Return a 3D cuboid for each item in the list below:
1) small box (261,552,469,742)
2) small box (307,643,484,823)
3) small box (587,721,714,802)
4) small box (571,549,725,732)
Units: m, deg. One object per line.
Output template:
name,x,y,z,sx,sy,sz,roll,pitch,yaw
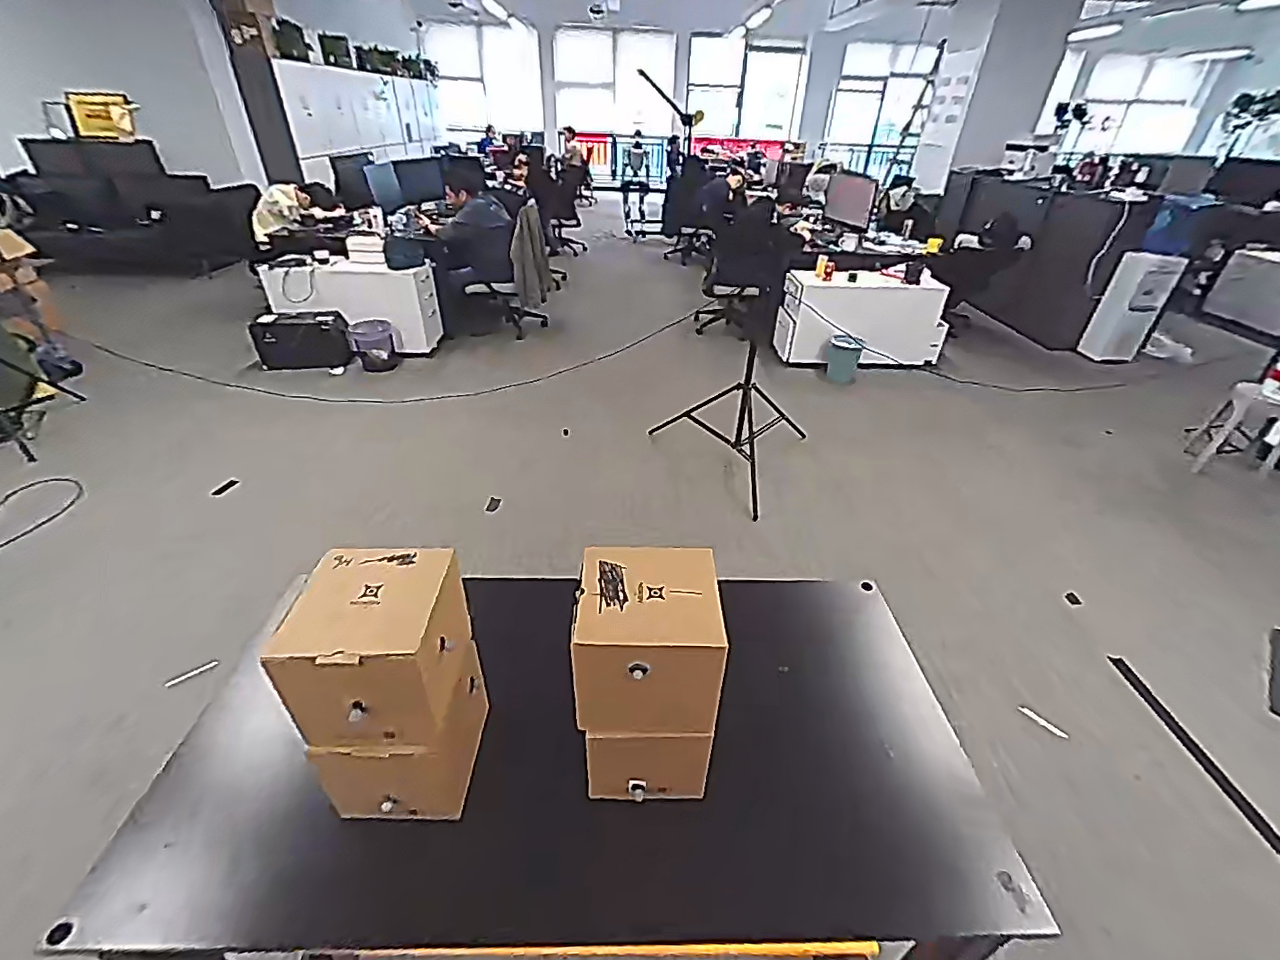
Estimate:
small box,-0.323,0.211,0.683,0.168,0.176,0.179,0,35,-3
small box,-0.326,0.352,0.768,0.168,0.176,0.179,1,34,-1
small box,0.009,0.346,0.800,0.168,0.176,0.179,-1,35,-2
small box,0.009,0.209,0.709,0.179,0.176,0.168,1,34,-1
